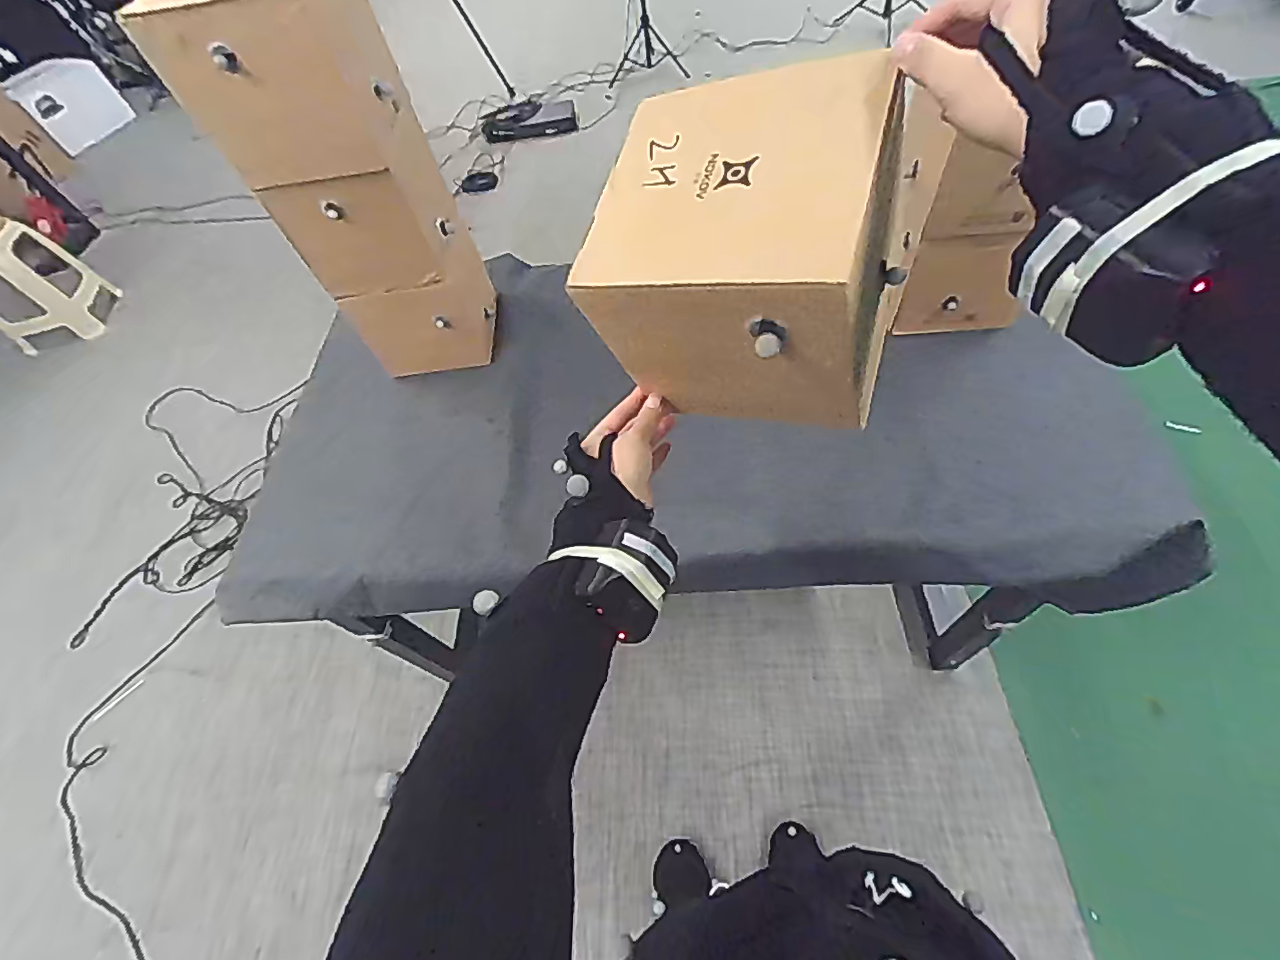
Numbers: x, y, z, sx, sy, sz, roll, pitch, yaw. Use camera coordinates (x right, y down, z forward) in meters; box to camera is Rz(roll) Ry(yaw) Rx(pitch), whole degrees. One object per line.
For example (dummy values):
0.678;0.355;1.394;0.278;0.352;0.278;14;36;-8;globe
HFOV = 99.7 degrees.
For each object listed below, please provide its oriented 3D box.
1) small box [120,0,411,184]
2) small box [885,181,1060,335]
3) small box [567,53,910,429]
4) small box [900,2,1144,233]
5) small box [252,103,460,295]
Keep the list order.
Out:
-0.387;-0.455;0.599;0.179;0.176;0.168;-5;59;4;small box
0.449;-0.335;0.783;0.168;0.176;0.179;-2;59;8;small box
0.084;-0.151;0.393;0.179;0.176;0.168;11;71;30;small box
0.424;-0.416;0.643;0.168;0.176;0.179;-2;59;8;small box
-0.370;-0.377;0.743;0.179;0.176;0.168;-7;59;3;small box
